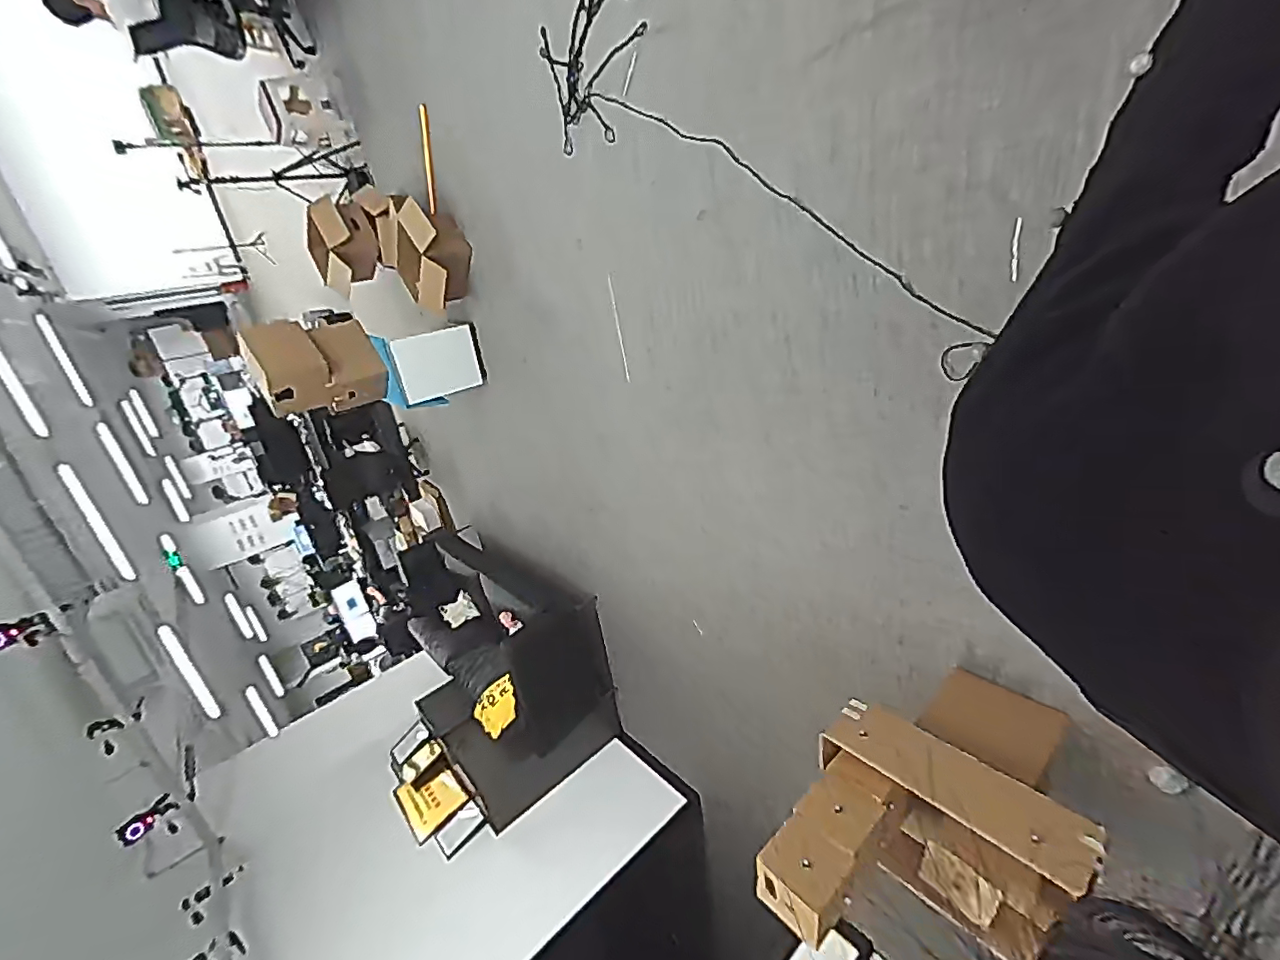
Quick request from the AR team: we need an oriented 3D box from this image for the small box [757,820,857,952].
[{"bbox_3d":[0.413,0.995,1.349,0.179,0.176,0.168,22,127,45],"label":"small box"}]
